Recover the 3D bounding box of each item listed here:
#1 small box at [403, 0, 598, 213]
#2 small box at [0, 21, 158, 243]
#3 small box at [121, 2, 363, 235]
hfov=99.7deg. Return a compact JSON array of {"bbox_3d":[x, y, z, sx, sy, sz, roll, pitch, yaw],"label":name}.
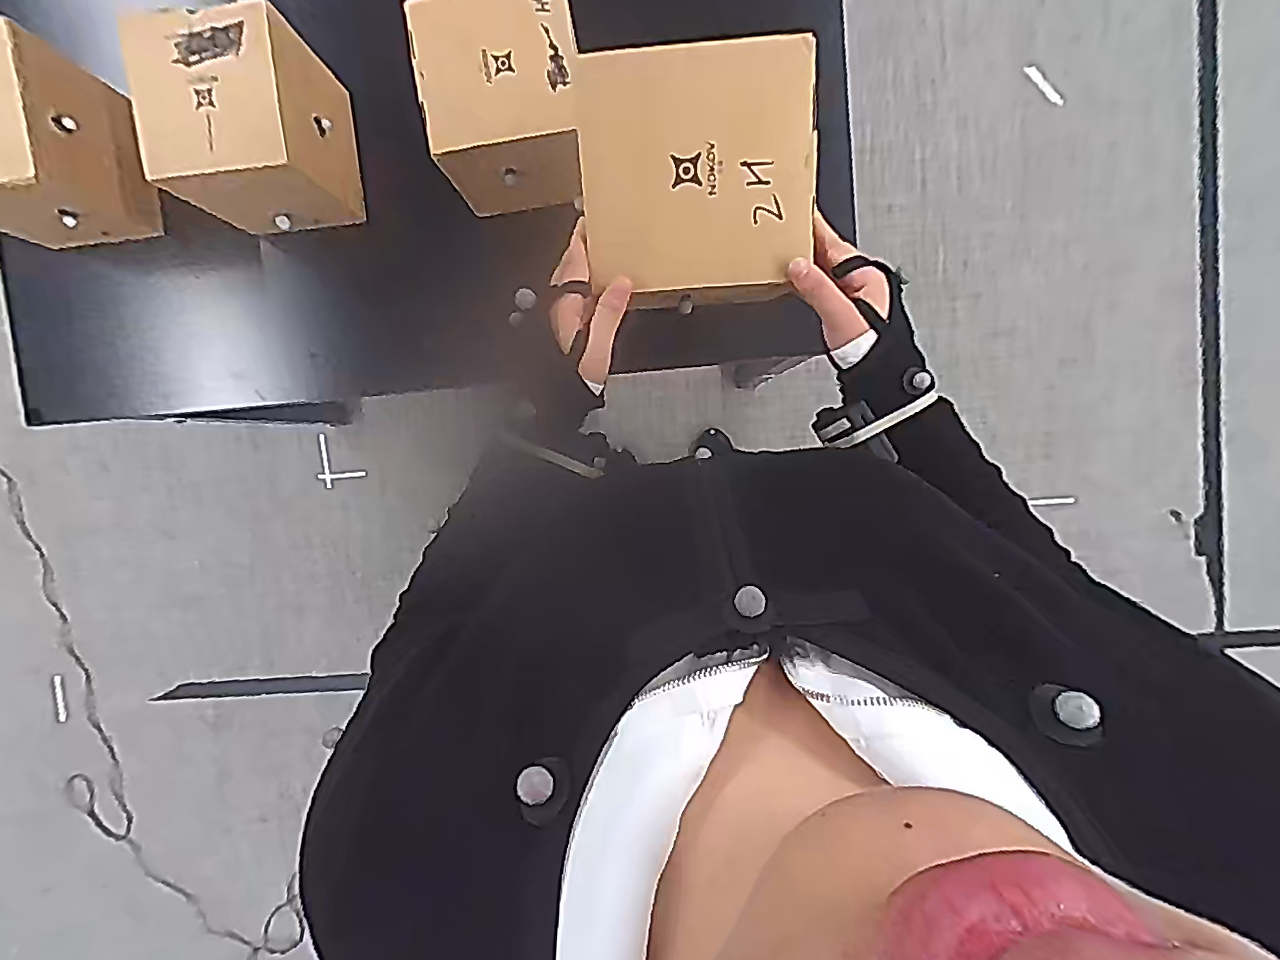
[{"bbox_3d":[-0.157,-0.453,0.666,0.179,0.176,0.168,-9,94,2],"label":"small box"},{"bbox_3d":[-0.761,-0.414,0.679,0.168,0.176,0.179,-7,93,0],"label":"small box"},{"bbox_3d":[-0.474,-0.431,0.672,0.168,0.176,0.179,-6,95,2],"label":"small box"}]
